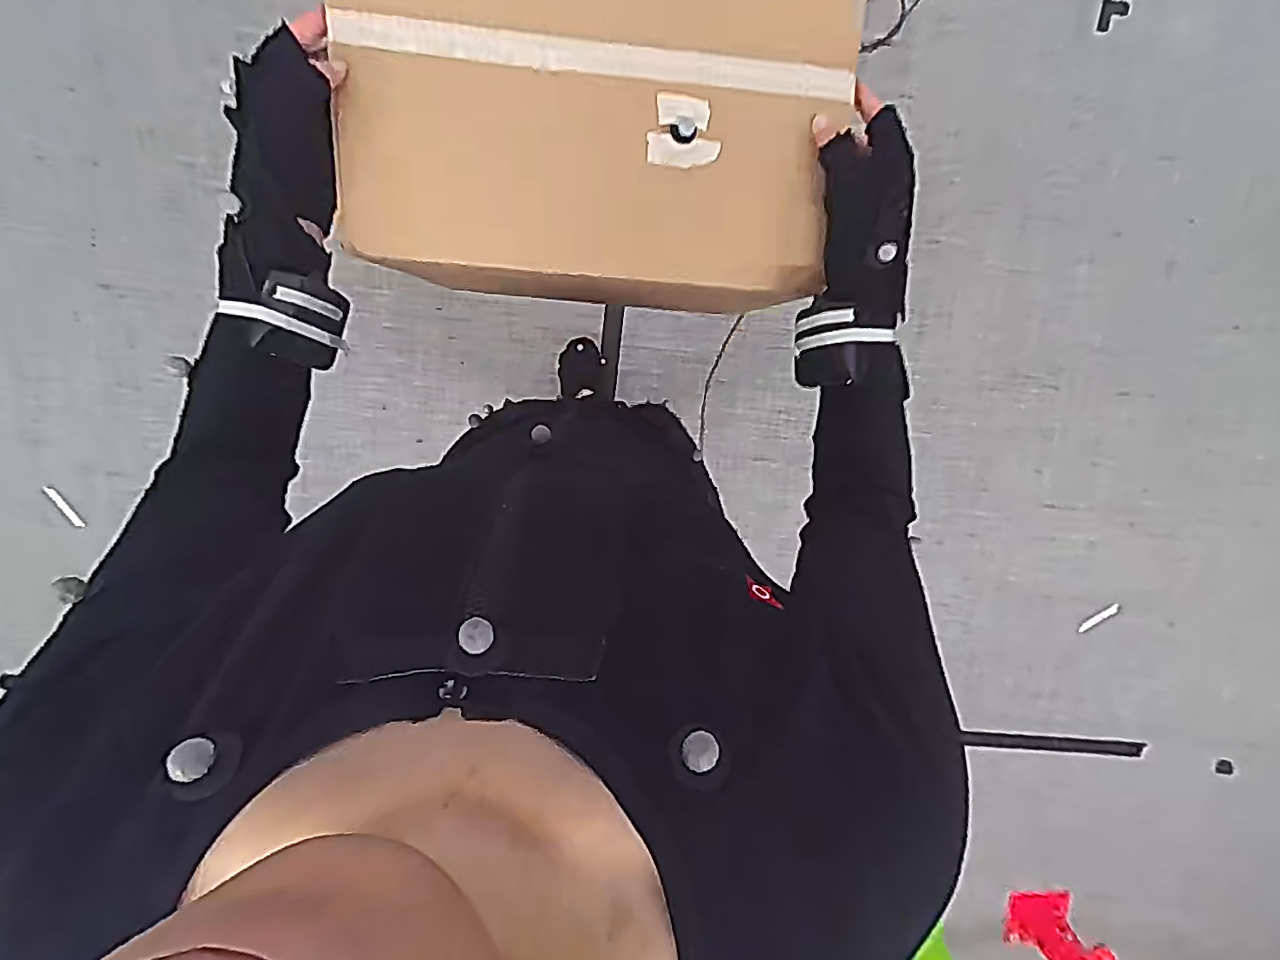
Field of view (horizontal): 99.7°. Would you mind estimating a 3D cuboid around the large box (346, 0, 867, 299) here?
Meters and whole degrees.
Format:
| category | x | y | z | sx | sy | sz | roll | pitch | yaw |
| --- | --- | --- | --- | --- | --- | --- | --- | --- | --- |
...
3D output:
| category | x | y | z | sx | sy | sz | roll | pitch | yaw |
| --- | --- | --- | --- | --- | --- | --- | --- | --- | --- |
| large box | -0.036 | -0.372 | 0.563 | 0.408 | 0.320 | 0.320 | 3 | 104 | -6 |
